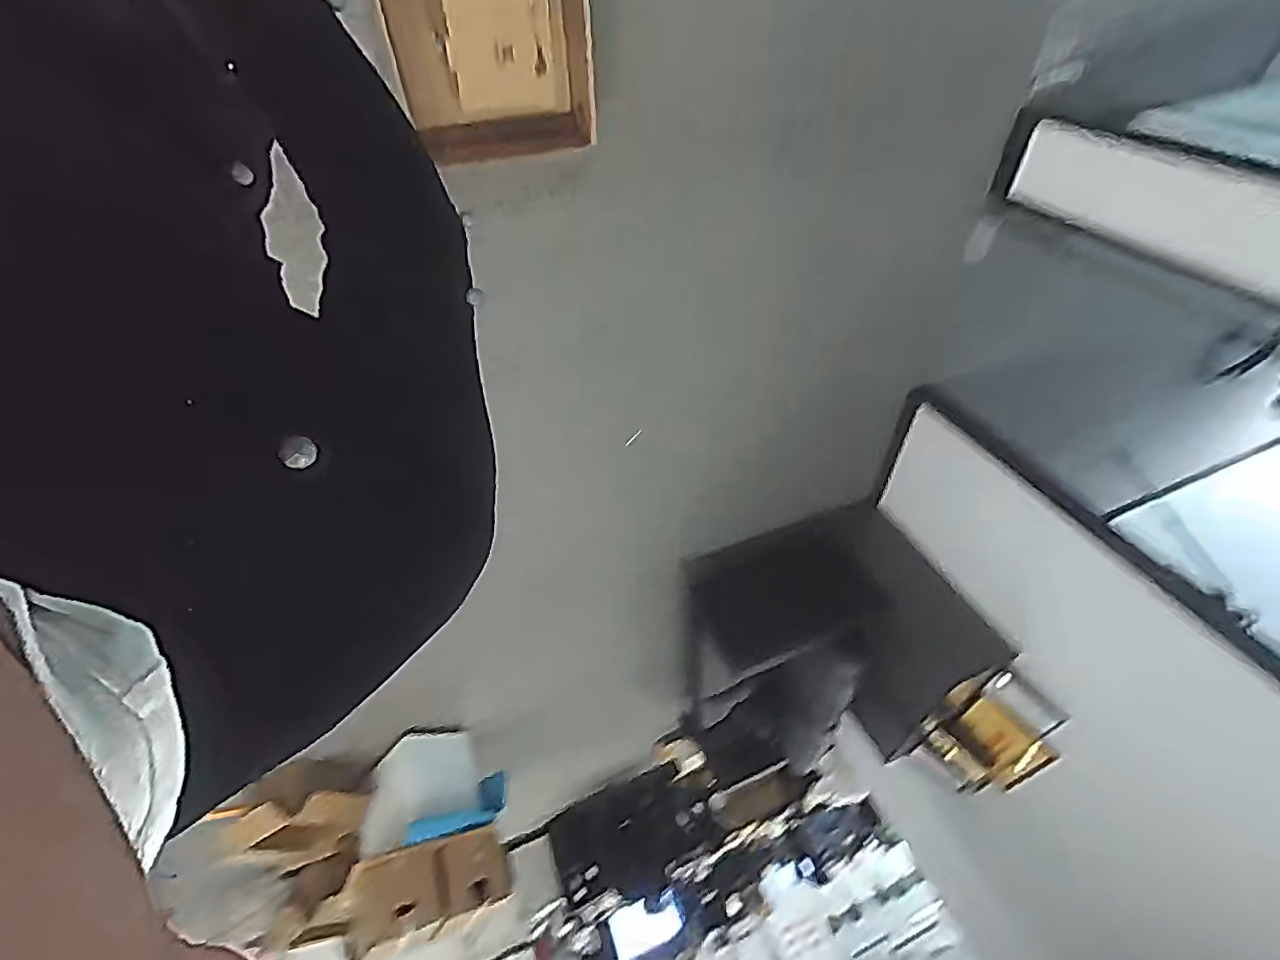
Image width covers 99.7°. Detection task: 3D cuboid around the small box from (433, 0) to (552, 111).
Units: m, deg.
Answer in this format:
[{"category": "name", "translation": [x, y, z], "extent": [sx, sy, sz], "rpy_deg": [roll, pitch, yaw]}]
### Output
[{"category": "small box", "translation": [-0.270, -0.784, 0.983], "extent": [0.179, 0.176, 0.168], "rpy_deg": [-13, 136, -15]}]
